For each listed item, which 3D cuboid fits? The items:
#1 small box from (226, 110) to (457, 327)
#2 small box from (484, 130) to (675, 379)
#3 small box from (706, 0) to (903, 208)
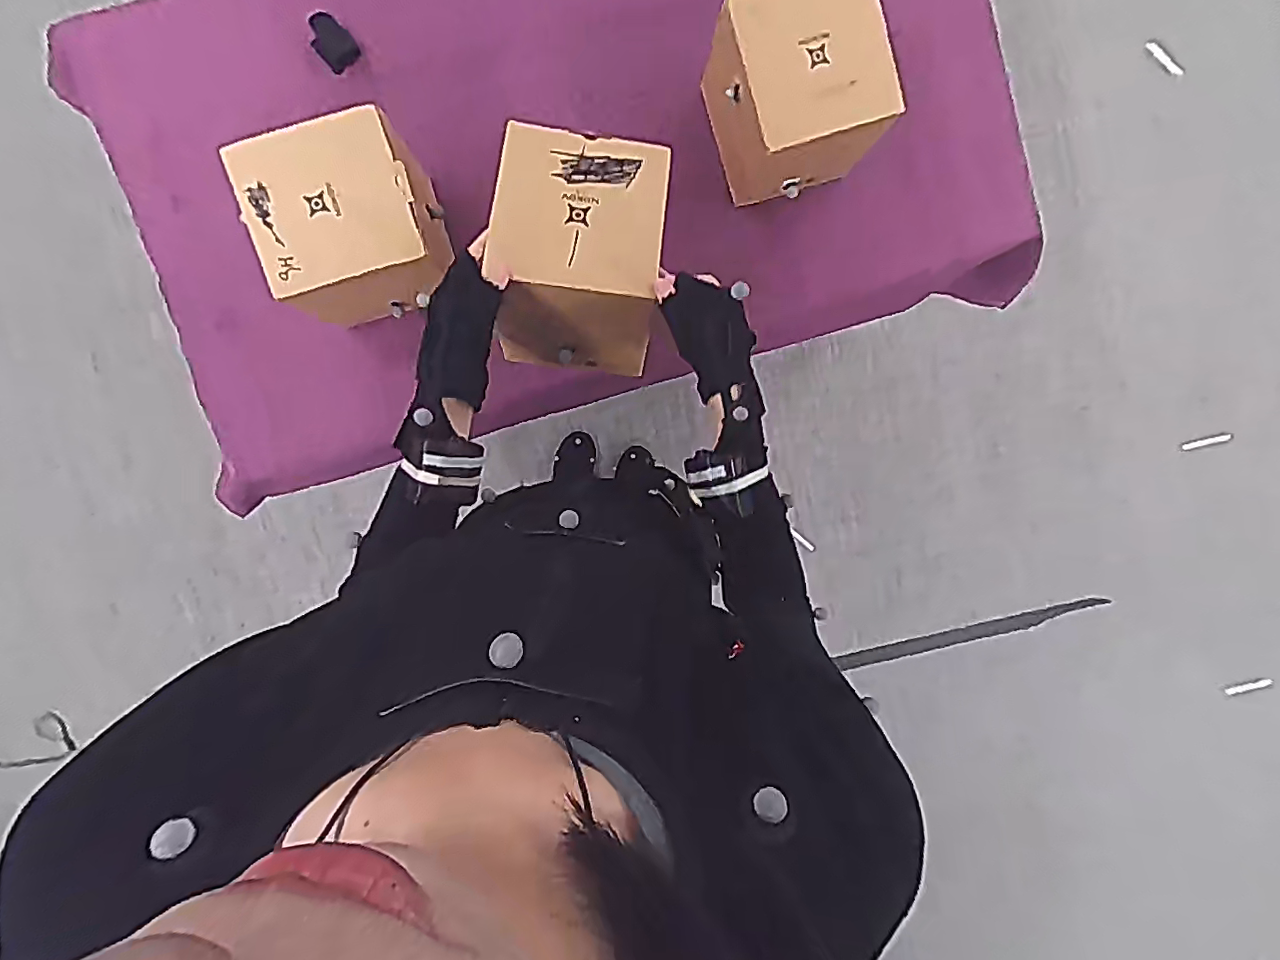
[{"bbox_3d":[-0.340,-0.302,0.662,0.179,0.176,0.168,-17,95,-3],"label":"small box"},{"bbox_3d":[-0.061,-0.235,0.597,0.168,0.176,0.179,7,75,-3],"label":"small box"},{"bbox_3d":[0.192,-0.482,0.682,0.168,0.176,0.179,-18,96,-1],"label":"small box"}]
